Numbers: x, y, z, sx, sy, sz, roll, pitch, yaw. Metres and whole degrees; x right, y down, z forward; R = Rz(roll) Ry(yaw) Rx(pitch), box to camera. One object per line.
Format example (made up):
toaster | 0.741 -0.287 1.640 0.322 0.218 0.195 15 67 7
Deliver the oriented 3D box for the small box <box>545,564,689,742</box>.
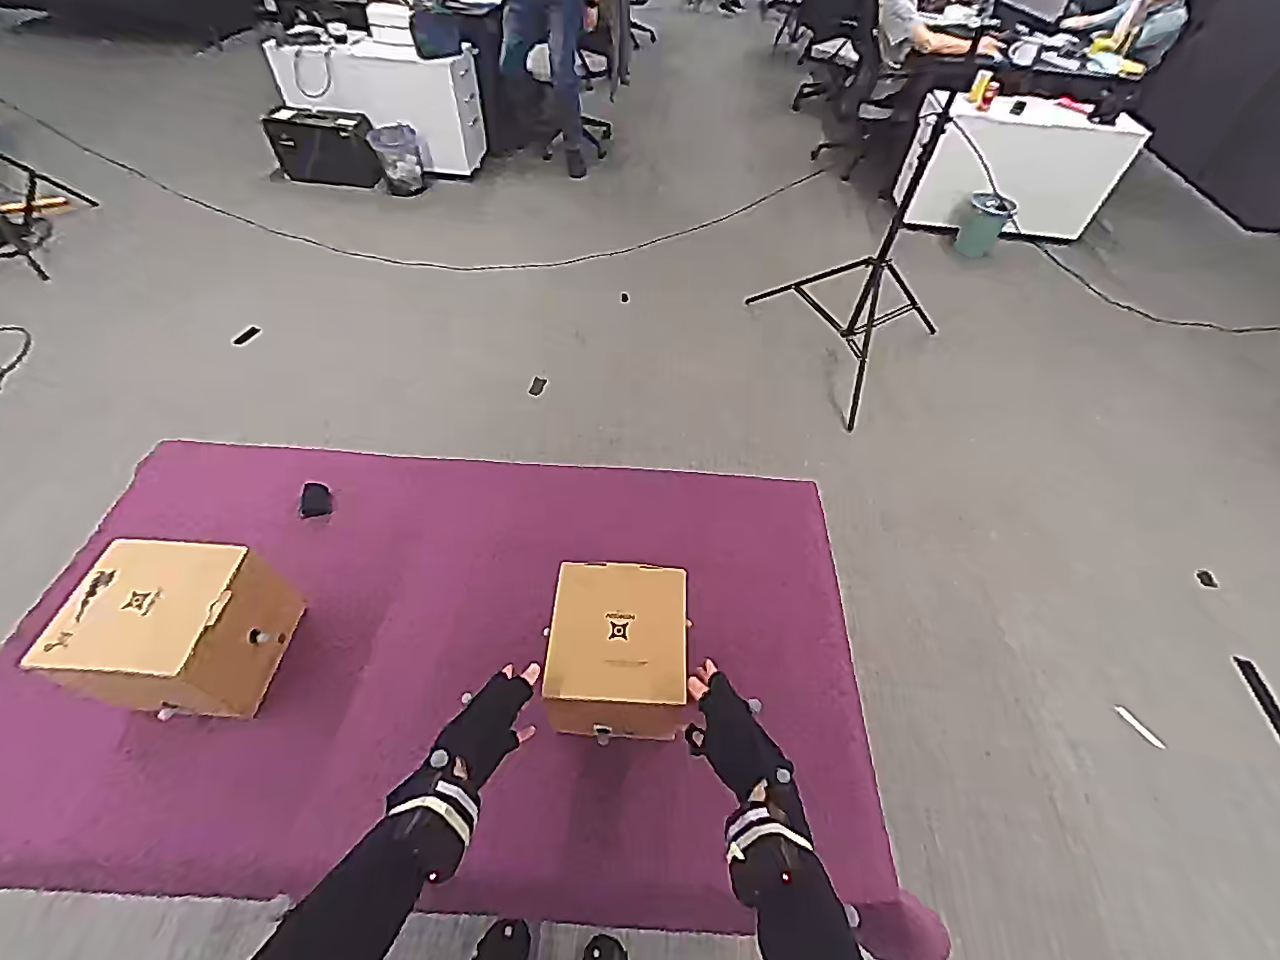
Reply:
small box | -0.026 0.231 0.719 0.168 0.176 0.179 2 51 0

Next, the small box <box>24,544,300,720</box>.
small box | -0.588 0.202 0.702 0.179 0.176 0.168 4 51 -1
